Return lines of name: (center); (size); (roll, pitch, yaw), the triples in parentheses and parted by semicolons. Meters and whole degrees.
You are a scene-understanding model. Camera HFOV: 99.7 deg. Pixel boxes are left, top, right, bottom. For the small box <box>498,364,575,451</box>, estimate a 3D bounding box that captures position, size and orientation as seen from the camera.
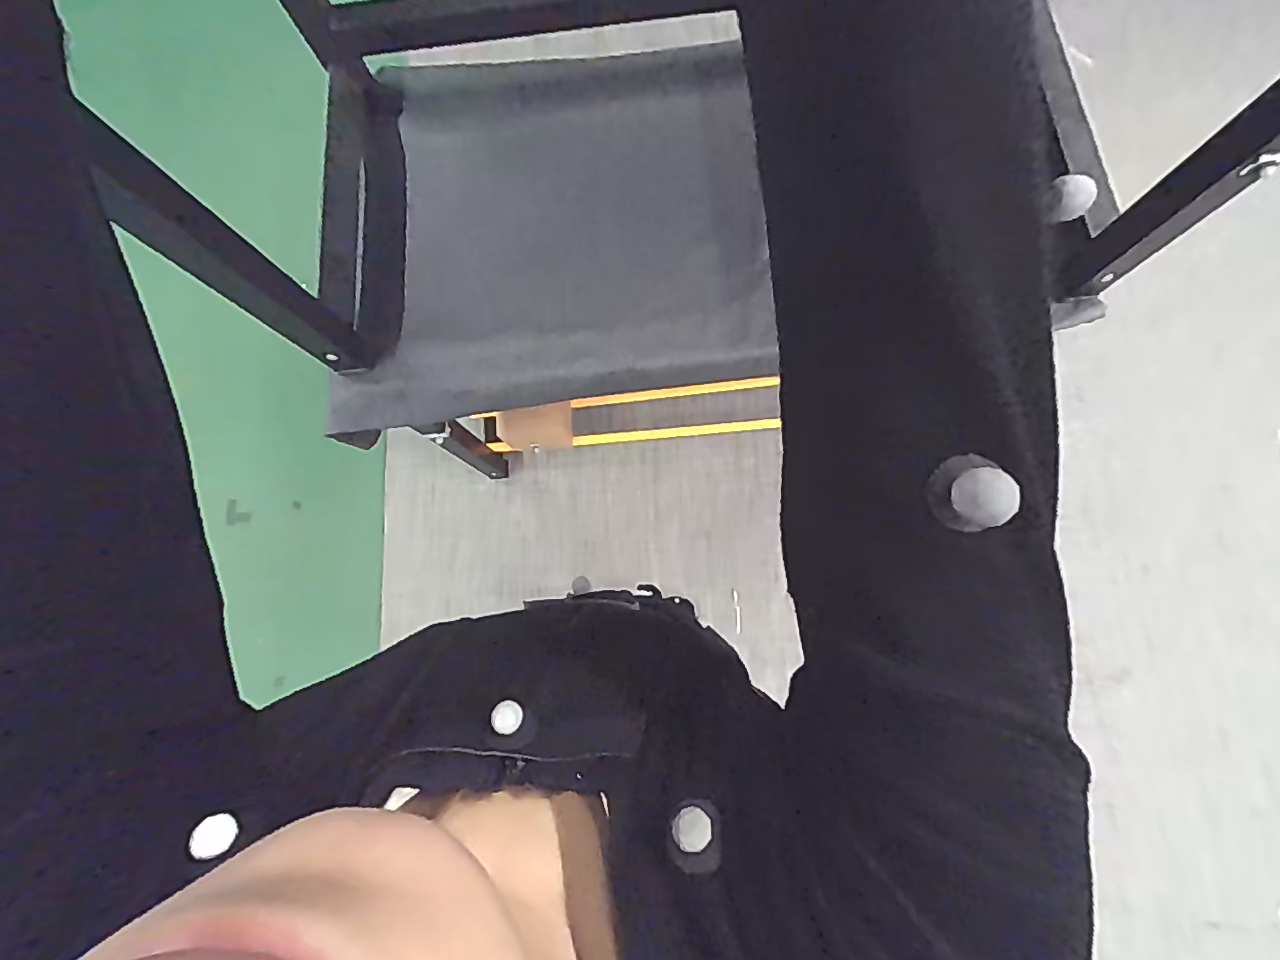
small box: (-0.270, -0.186, 1.428); (0.168, 0.176, 0.179); (-6, 79, 3)
